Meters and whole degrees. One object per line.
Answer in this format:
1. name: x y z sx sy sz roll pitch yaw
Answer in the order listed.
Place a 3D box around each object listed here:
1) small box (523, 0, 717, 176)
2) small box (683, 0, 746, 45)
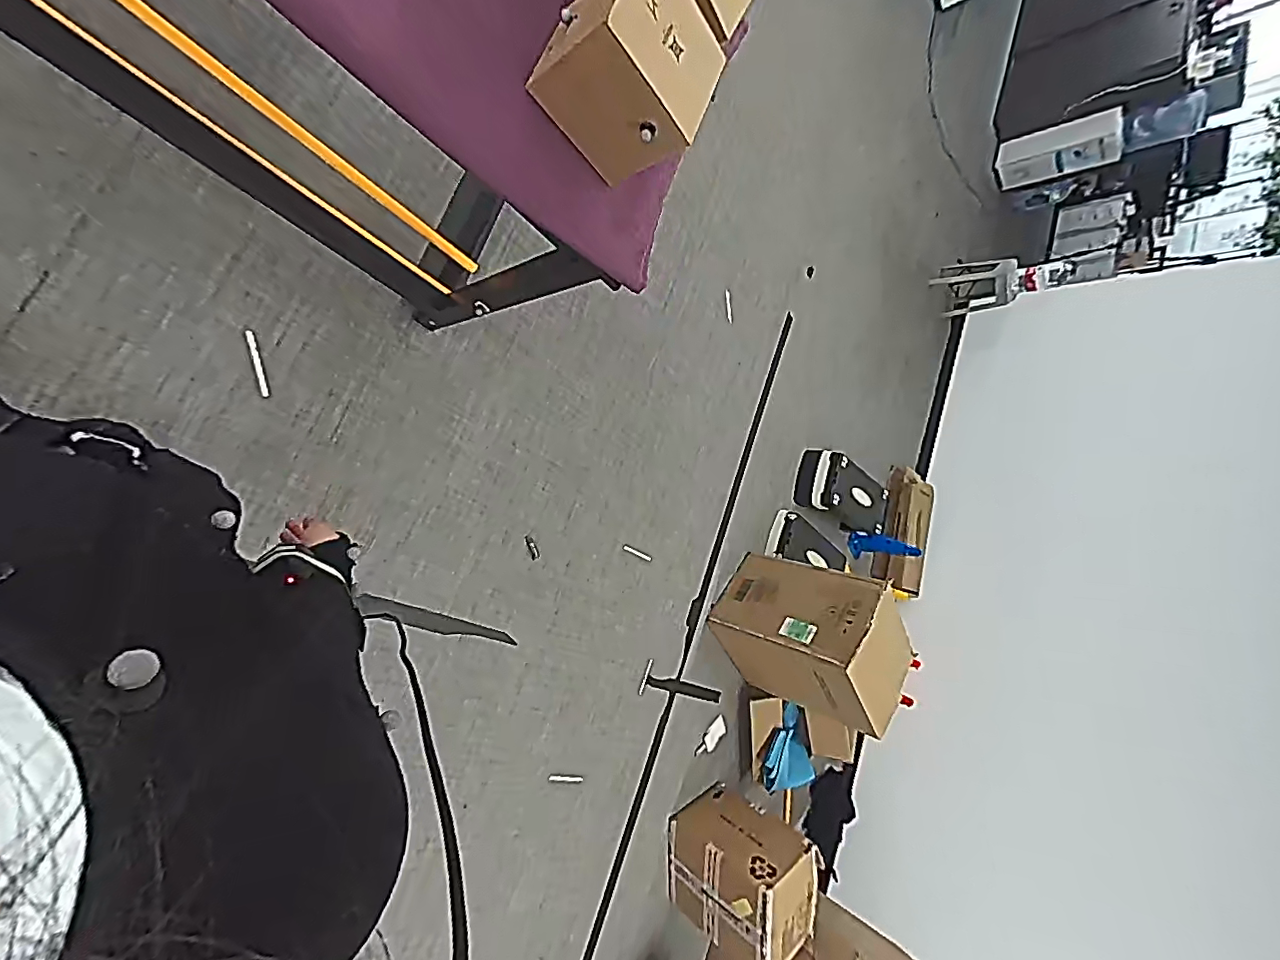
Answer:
1. small box: -0.026 -0.560 0.753 0.179 0.176 0.168 34 69 -41
2. small box: 0.041 -0.743 0.797 0.179 0.176 0.168 40 69 -41
